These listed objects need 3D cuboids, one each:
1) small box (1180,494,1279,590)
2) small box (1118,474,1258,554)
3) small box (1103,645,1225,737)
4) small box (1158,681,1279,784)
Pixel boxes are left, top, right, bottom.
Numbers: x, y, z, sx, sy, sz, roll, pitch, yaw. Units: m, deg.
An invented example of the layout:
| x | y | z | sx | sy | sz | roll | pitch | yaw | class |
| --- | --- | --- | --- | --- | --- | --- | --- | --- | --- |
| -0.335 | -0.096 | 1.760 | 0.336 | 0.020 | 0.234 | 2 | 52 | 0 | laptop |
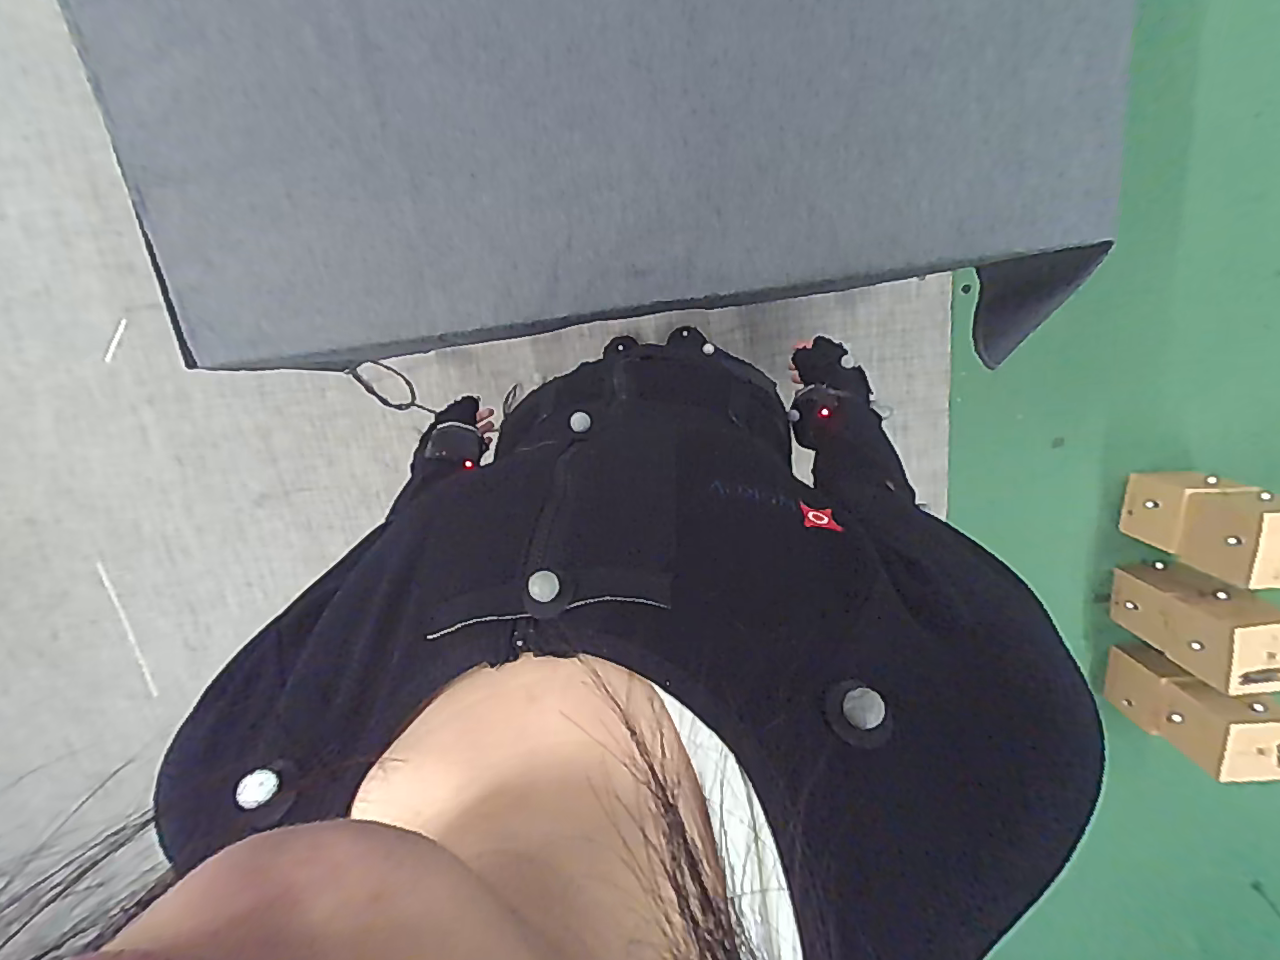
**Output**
| x | y | z | sx | sy | sz | roll | pitch | yaw | class |
| --- | --- | --- | --- | --- | --- | --- | --- | --- | --- |
| 1.381 | 0.132 | 1.215 | 0.168 | 0.176 | 0.179 | -2 | 104 | 3 | small box |
| 1.377 | 0.083 | 1.374 | 0.179 | 0.176 | 0.168 | -1 | 104 | 3 | small box |
| 1.440 | 0.581 | 1.499 | 0.168 | 0.176 | 0.179 | -3 | 104 | 3 | small box |
| 1.457 | 0.619 | 1.340 | 0.179 | 0.176 | 0.168 | -5 | 105 | 4 | small box |
